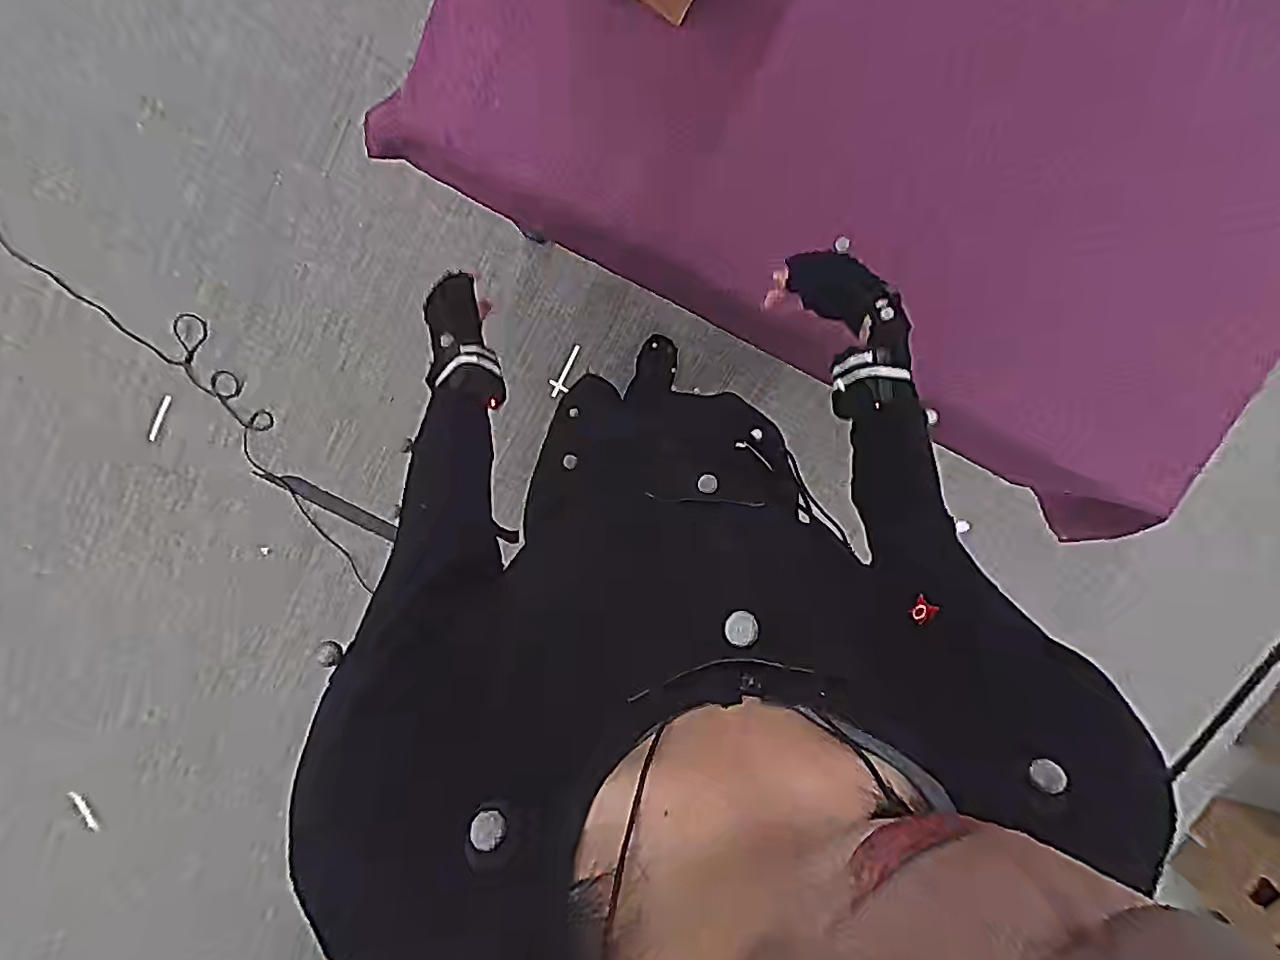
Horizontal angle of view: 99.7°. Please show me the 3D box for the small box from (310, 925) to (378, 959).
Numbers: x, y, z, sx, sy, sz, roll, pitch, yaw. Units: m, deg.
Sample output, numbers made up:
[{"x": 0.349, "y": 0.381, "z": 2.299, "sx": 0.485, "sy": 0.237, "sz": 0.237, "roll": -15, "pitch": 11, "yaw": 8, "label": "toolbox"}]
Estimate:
[{"x": -1.013, "y": 1.633, "z": 1.792, "sx": 0.179, "sy": 0.176, "sz": 0.168, "roll": 32, "pitch": 100, "yaw": -9, "label": "small box"}]

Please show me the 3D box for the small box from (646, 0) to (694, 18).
[{"x": 0.028, "y": -0.631, "z": 0.533, "sx": 0.168, "sy": 0.176, "sz": 0.179, "roll": 30, "pitch": 101, "yaw": -8, "label": "small box"}]
